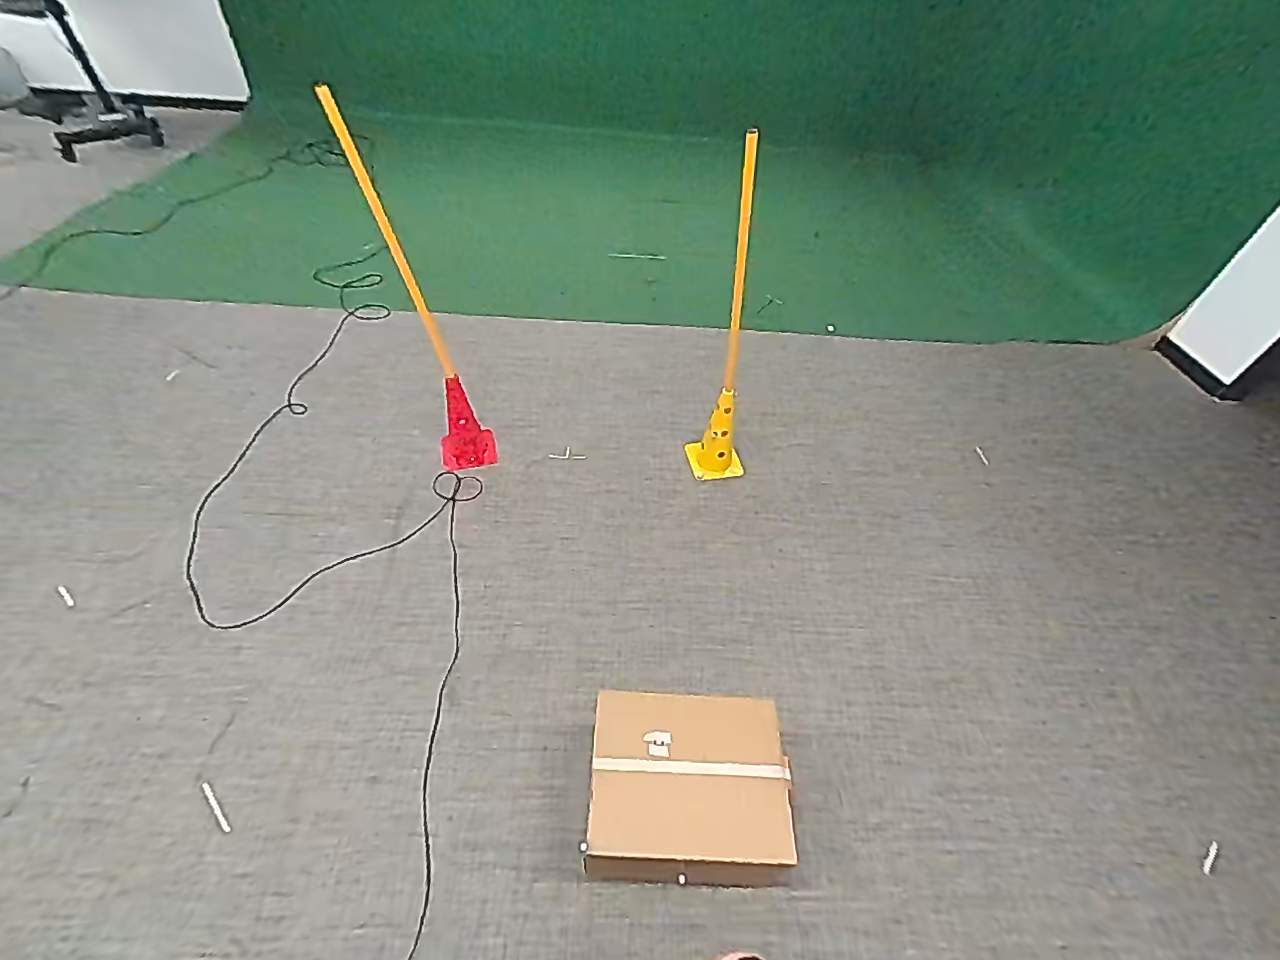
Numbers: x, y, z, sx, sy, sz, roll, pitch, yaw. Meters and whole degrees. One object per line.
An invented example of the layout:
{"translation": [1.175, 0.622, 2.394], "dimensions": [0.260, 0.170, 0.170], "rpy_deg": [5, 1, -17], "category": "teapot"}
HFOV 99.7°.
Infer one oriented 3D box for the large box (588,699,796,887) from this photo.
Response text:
{"translation": [0.098, 0.715, 1.228], "dimensions": [0.408, 0.320, 0.320], "rpy_deg": [3, 46, -1], "category": "large box"}
